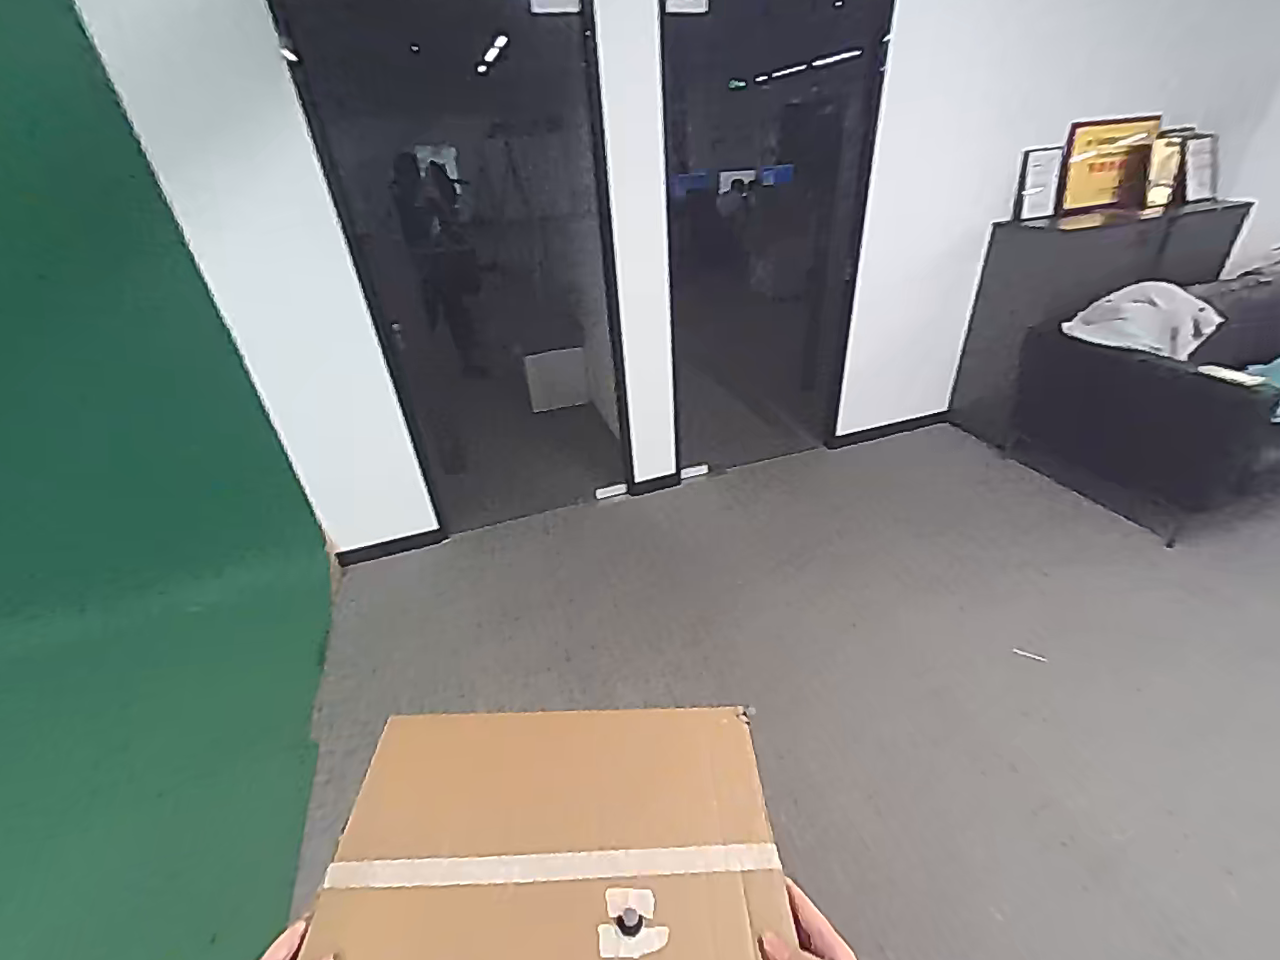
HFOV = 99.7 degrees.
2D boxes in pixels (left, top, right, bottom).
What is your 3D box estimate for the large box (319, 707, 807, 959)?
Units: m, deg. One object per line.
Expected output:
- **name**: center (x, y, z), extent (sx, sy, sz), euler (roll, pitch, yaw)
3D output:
- **large box**: center (-0.070, 0.475, 0.579), extent (0.408, 0.320, 0.320), euler (1, 33, -3)
